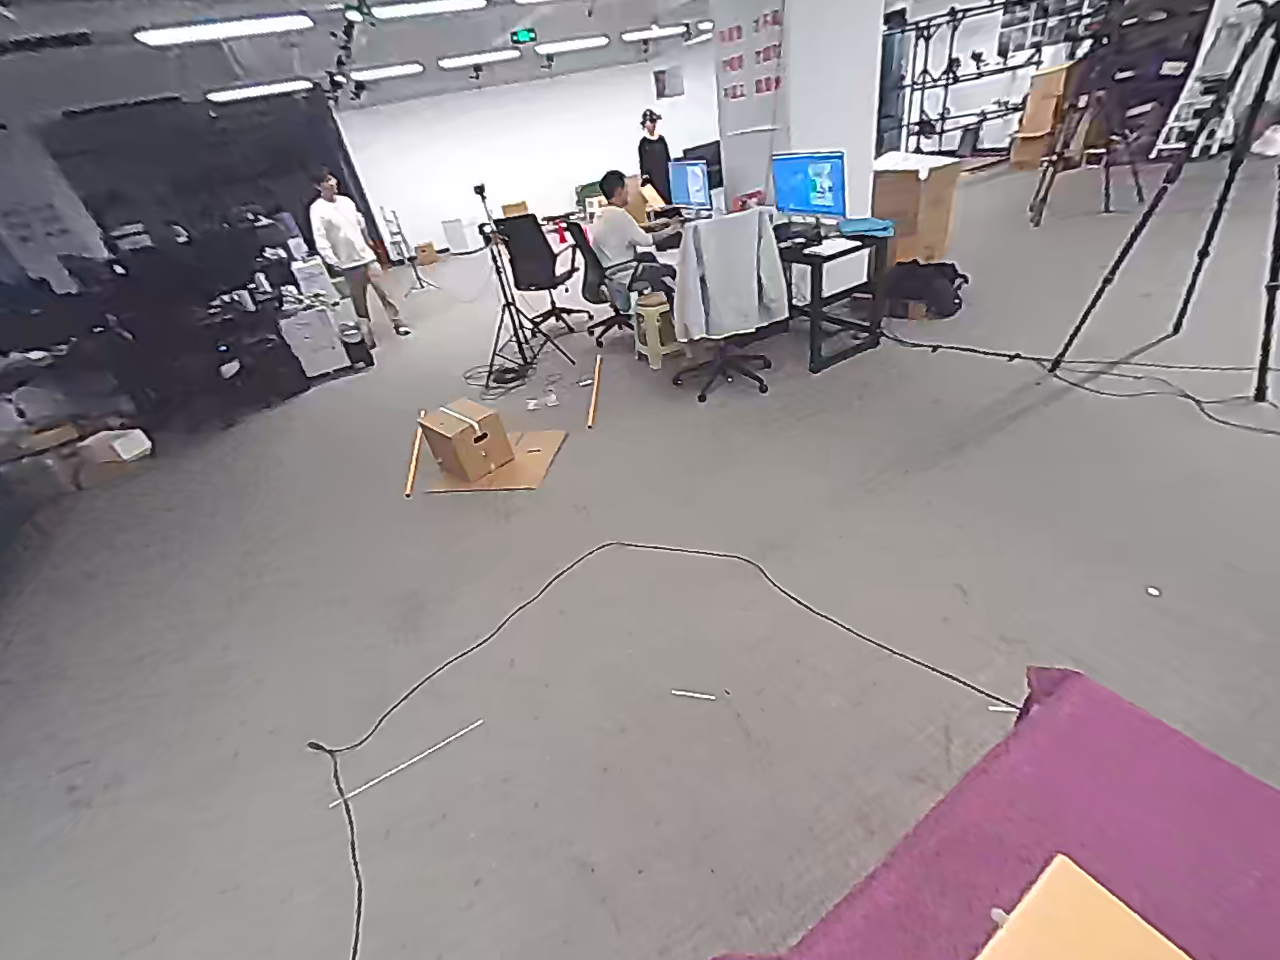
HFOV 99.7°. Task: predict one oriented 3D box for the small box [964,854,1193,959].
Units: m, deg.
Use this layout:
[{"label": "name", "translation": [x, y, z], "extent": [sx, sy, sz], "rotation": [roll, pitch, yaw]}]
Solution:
[{"label": "small box", "translation": [0.388, 0.486, 0.463], "extent": [0.168, 0.176, 0.179], "rotation": [-26, 36, -22]}]
